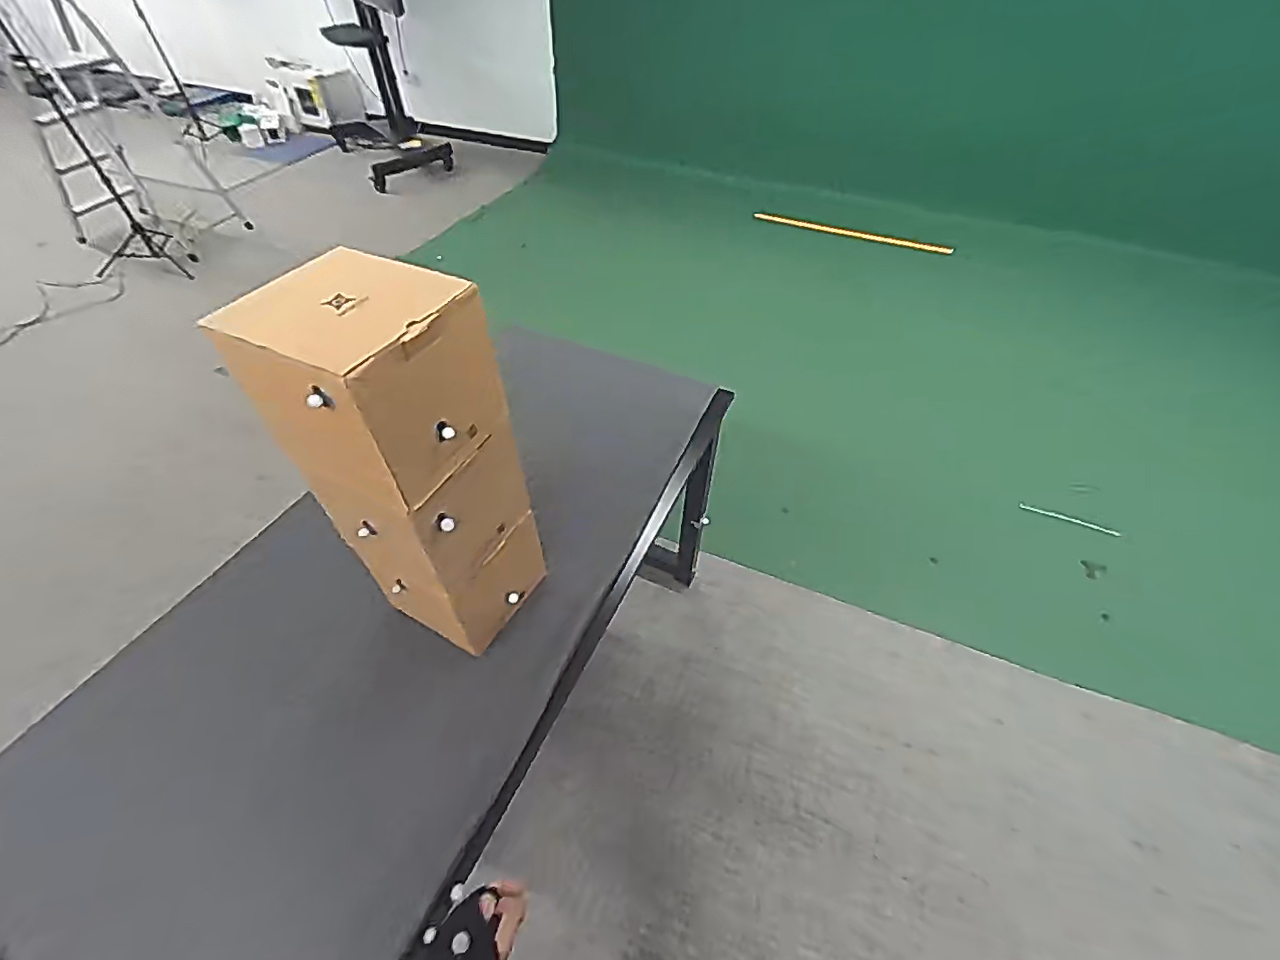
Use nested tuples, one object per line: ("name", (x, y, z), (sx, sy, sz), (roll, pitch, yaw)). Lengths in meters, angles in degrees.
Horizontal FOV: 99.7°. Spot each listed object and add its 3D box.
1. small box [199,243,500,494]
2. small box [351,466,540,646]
("small box", (-0.267, -0.111, 0.543), (0.179, 0.176, 0.168), (19, 50, 17))
("small box", (-0.267, 0.110, 0.782), (0.179, 0.176, 0.168), (23, 51, 19))
